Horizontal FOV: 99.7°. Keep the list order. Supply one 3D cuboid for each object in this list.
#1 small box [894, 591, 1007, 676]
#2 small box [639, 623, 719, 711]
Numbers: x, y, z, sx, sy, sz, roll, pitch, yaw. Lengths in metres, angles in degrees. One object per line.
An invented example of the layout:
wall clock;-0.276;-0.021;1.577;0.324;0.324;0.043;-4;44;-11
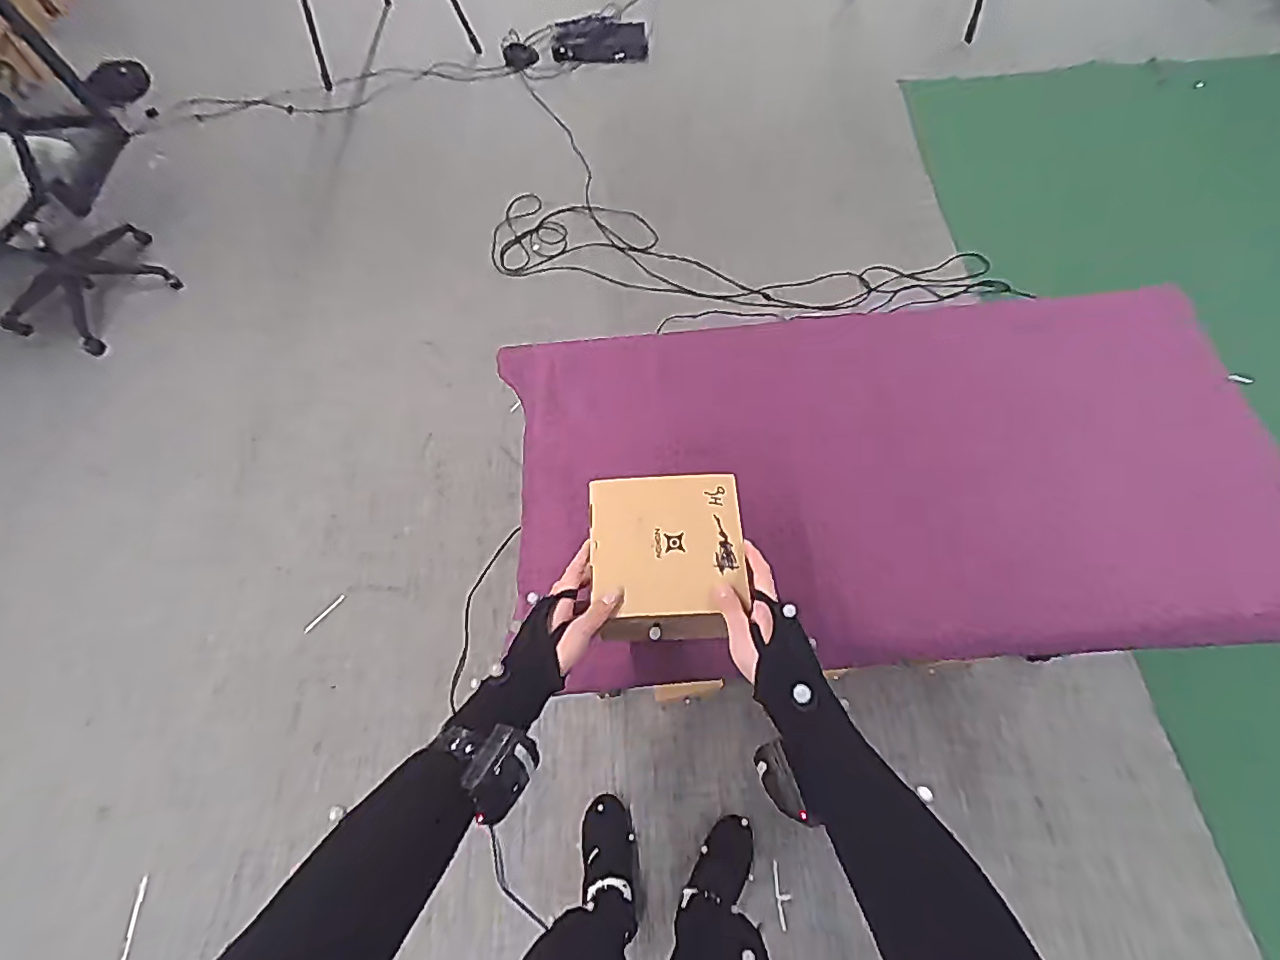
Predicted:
small box;0.778;0.398;1.377;0.168;0.176;0.179;-6;62;-1
small box;0.097;0.480;1.374;0.168;0.176;0.179;-12;63;-3
